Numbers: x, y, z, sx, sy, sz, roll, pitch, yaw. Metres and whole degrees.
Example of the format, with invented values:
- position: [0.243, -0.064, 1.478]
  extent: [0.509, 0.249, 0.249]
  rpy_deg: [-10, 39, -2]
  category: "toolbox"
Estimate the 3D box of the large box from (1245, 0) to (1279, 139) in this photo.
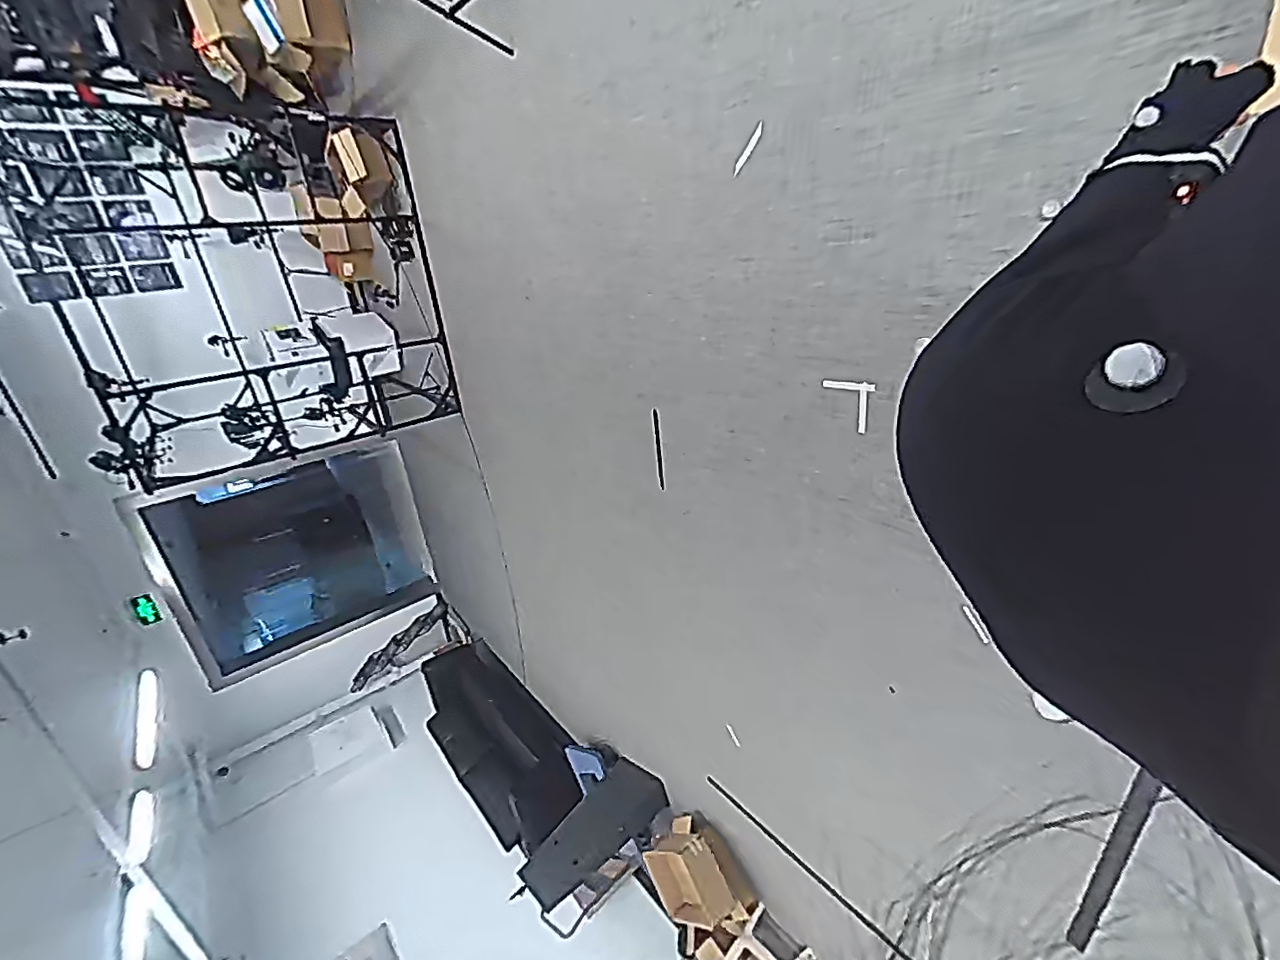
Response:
- position: [1.056, -0.637, 0.636]
  extent: [0.408, 0.320, 0.320]
  rpy_deg: [19, 122, 47]
  category: "large box"
